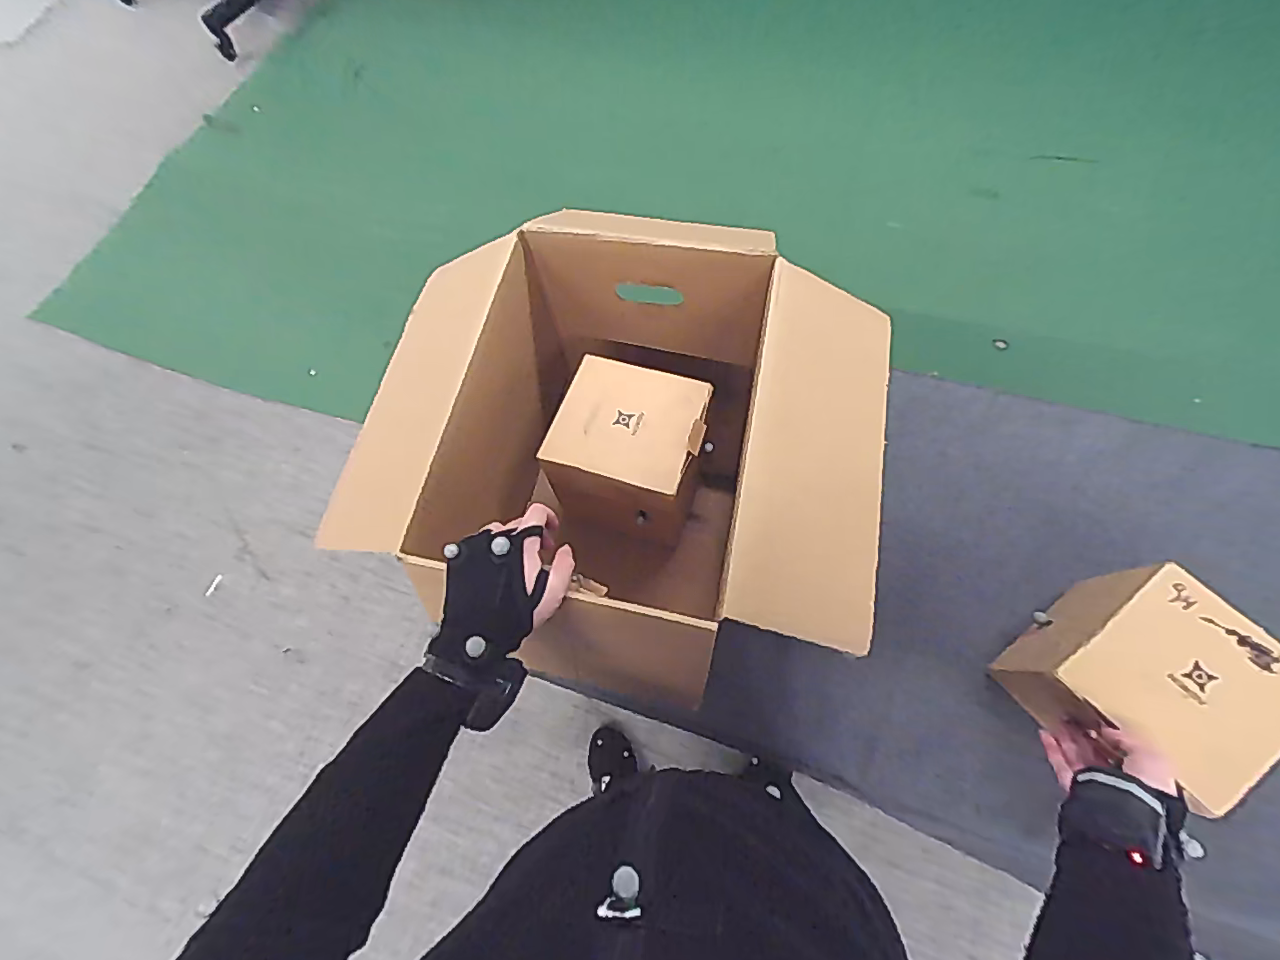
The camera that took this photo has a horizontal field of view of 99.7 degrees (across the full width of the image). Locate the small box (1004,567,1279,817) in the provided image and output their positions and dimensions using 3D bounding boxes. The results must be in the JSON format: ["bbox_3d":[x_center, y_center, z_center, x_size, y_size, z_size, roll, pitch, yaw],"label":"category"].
[{"bbox_3d":[0.551,0.226,0.603,0.179,0.176,0.168,-40,69,-4],"label":"small box"}]
